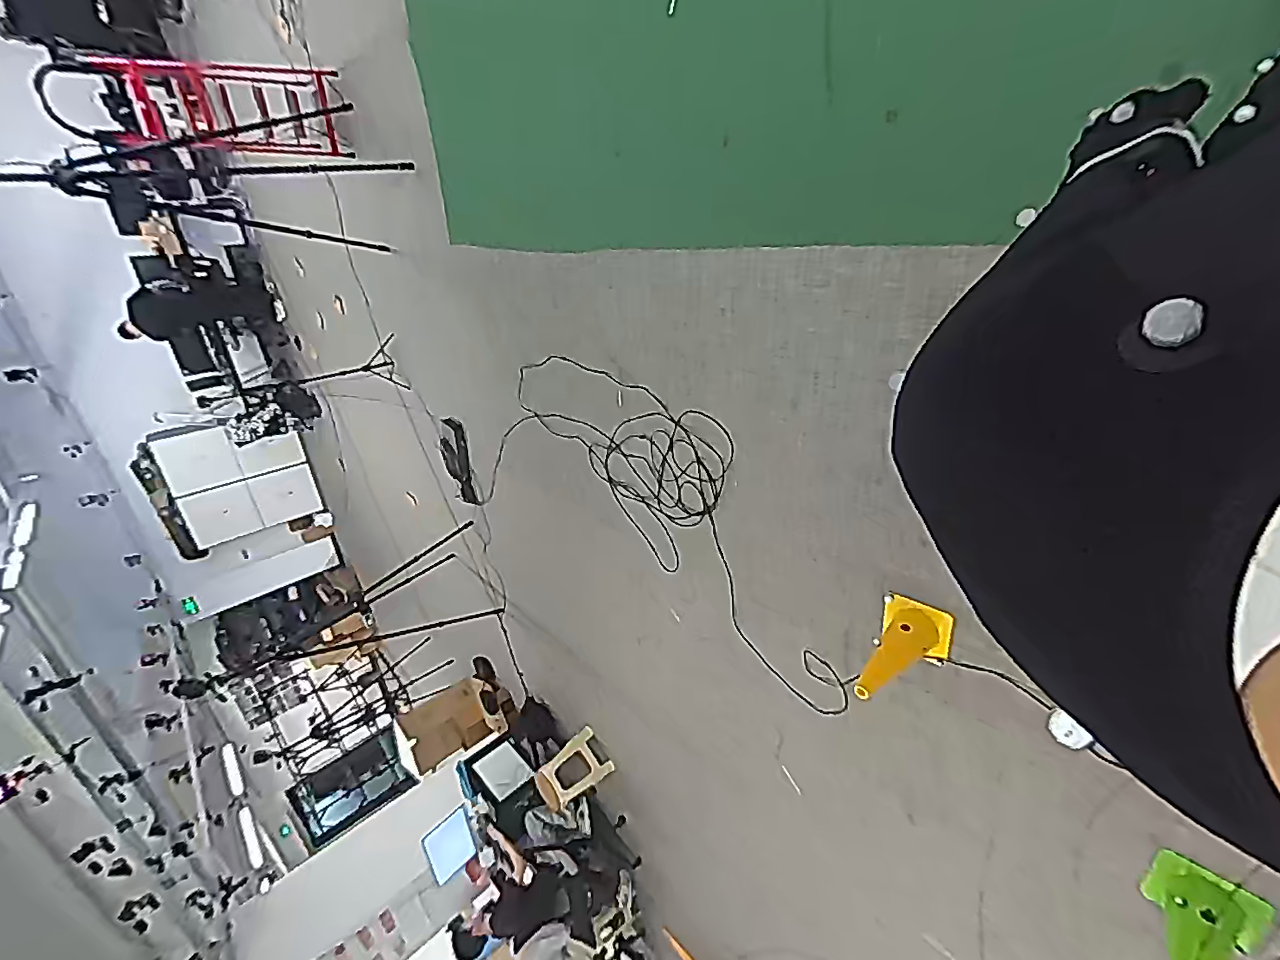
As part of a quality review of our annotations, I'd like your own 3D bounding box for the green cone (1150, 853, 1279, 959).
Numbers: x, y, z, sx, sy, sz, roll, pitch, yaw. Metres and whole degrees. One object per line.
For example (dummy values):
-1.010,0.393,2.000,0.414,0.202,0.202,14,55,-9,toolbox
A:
1.300,1.111,1.249,0.202,0.368,0.200,22,125,45,green cone
